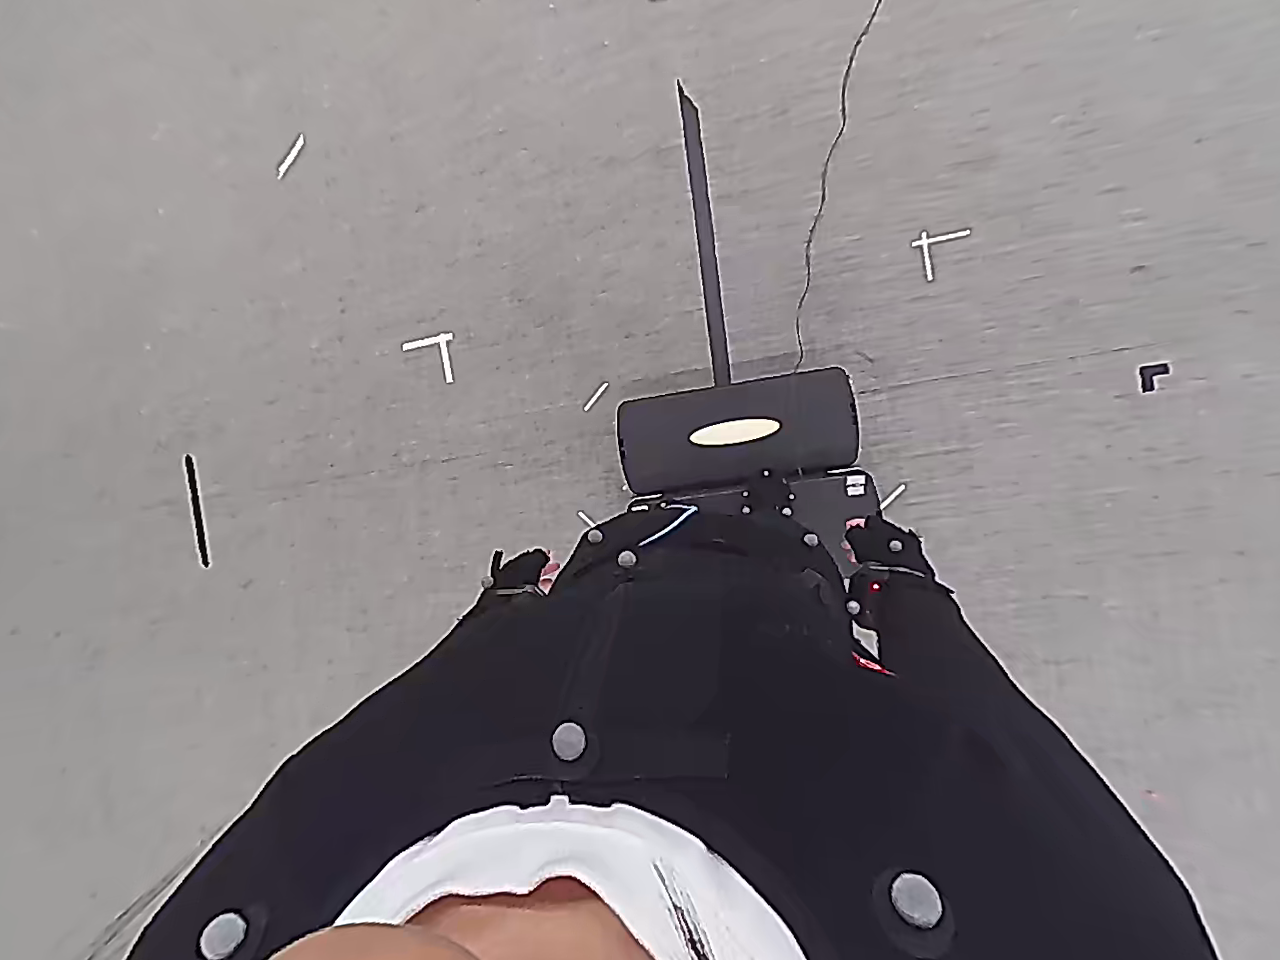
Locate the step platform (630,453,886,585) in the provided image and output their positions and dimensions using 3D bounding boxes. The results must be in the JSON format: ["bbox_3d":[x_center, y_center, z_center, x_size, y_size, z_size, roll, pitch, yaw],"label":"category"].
[{"bbox_3d":[0.314,0.111,1.511,0.684,0.204,0.286,-9,89,9],"label":"step platform"}]
